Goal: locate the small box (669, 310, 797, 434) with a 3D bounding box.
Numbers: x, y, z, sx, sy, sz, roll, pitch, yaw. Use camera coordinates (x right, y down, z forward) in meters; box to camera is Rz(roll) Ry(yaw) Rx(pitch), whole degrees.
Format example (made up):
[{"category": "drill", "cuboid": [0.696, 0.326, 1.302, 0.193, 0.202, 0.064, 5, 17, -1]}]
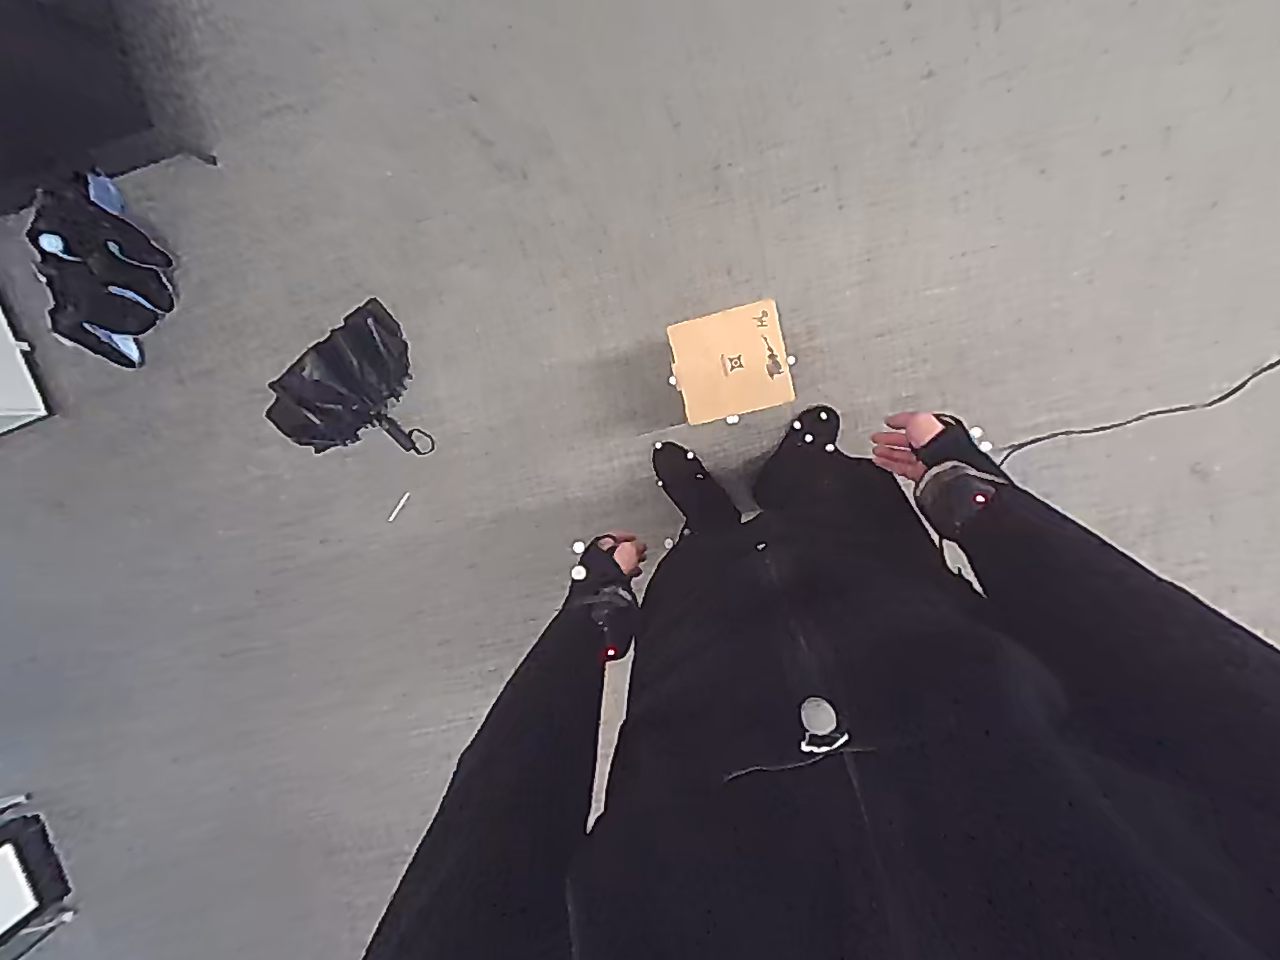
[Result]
[{"category": "small box", "cuboid": [0.159, -0.177, 0.936, 0.179, 0.176, 0.168, -13, 95, 9]}]
